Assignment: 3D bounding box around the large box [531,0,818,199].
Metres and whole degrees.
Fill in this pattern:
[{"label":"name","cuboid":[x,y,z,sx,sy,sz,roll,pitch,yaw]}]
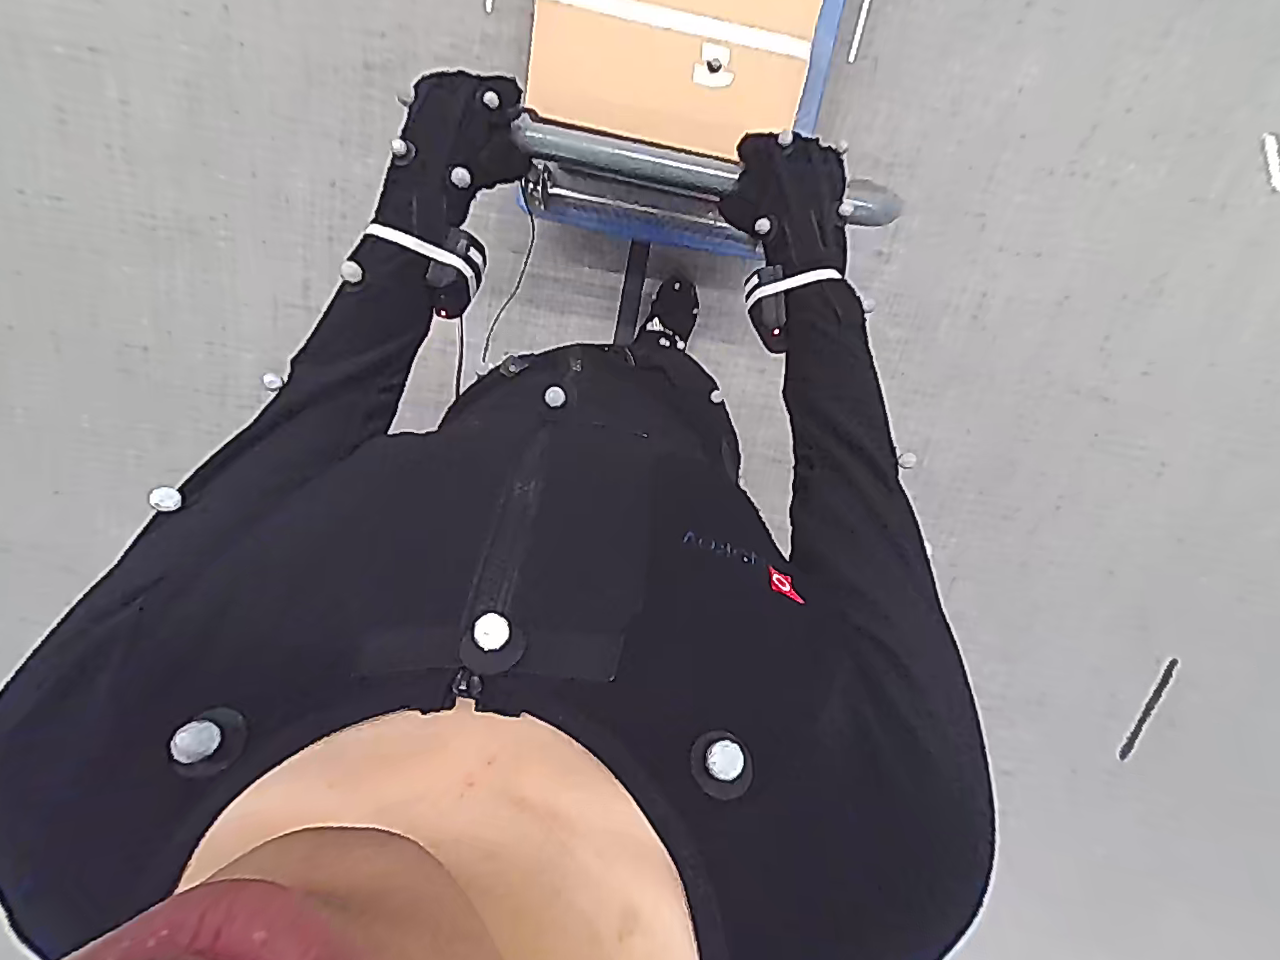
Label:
[{"label":"large box","cuboid":[0.049,-0.717,0.936,0.408,0.320,0.320,10,108,-4]}]
